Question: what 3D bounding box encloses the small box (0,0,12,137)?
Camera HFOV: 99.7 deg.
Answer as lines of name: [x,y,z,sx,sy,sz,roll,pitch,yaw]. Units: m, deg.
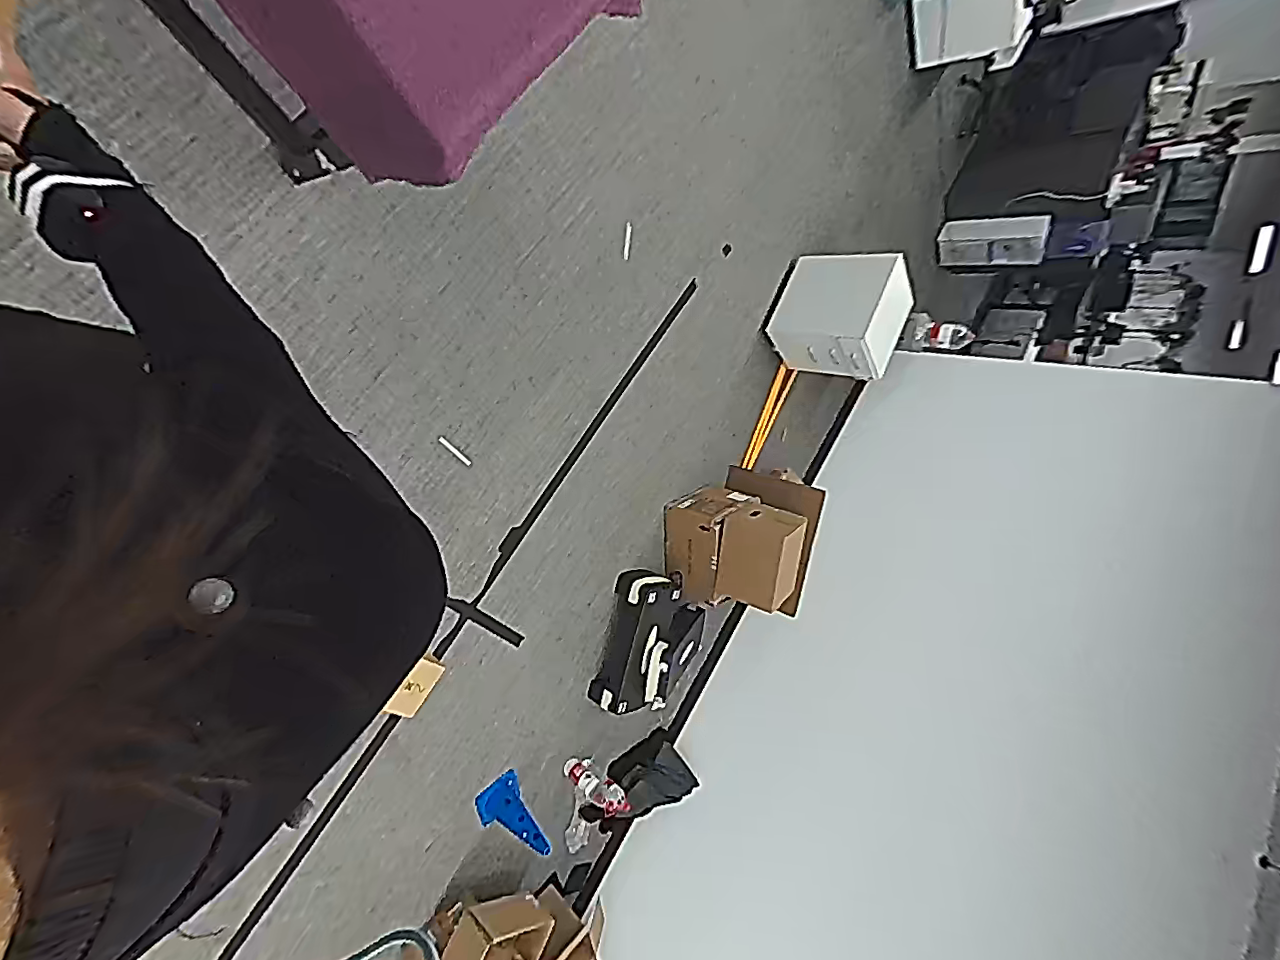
small box: [-0.670,-0.409,0.456,0.168,0.176,0.179,8,109,-45]
